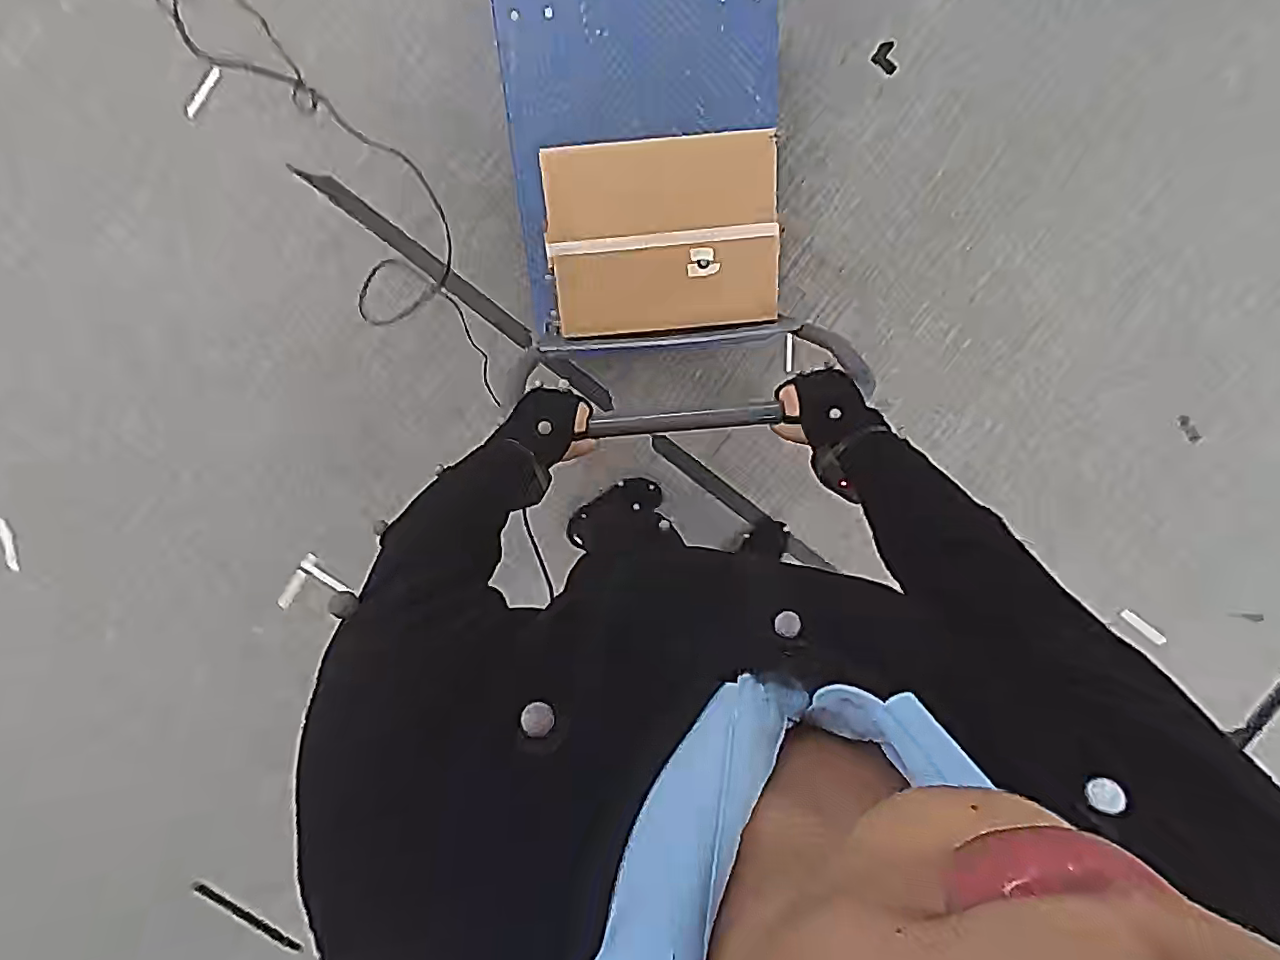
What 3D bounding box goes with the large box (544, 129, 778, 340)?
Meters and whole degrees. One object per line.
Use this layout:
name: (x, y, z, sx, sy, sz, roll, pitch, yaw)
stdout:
large box: (0.041, -0.481, 1.113, 0.408, 0.320, 0.320, -6, 110, 0)
